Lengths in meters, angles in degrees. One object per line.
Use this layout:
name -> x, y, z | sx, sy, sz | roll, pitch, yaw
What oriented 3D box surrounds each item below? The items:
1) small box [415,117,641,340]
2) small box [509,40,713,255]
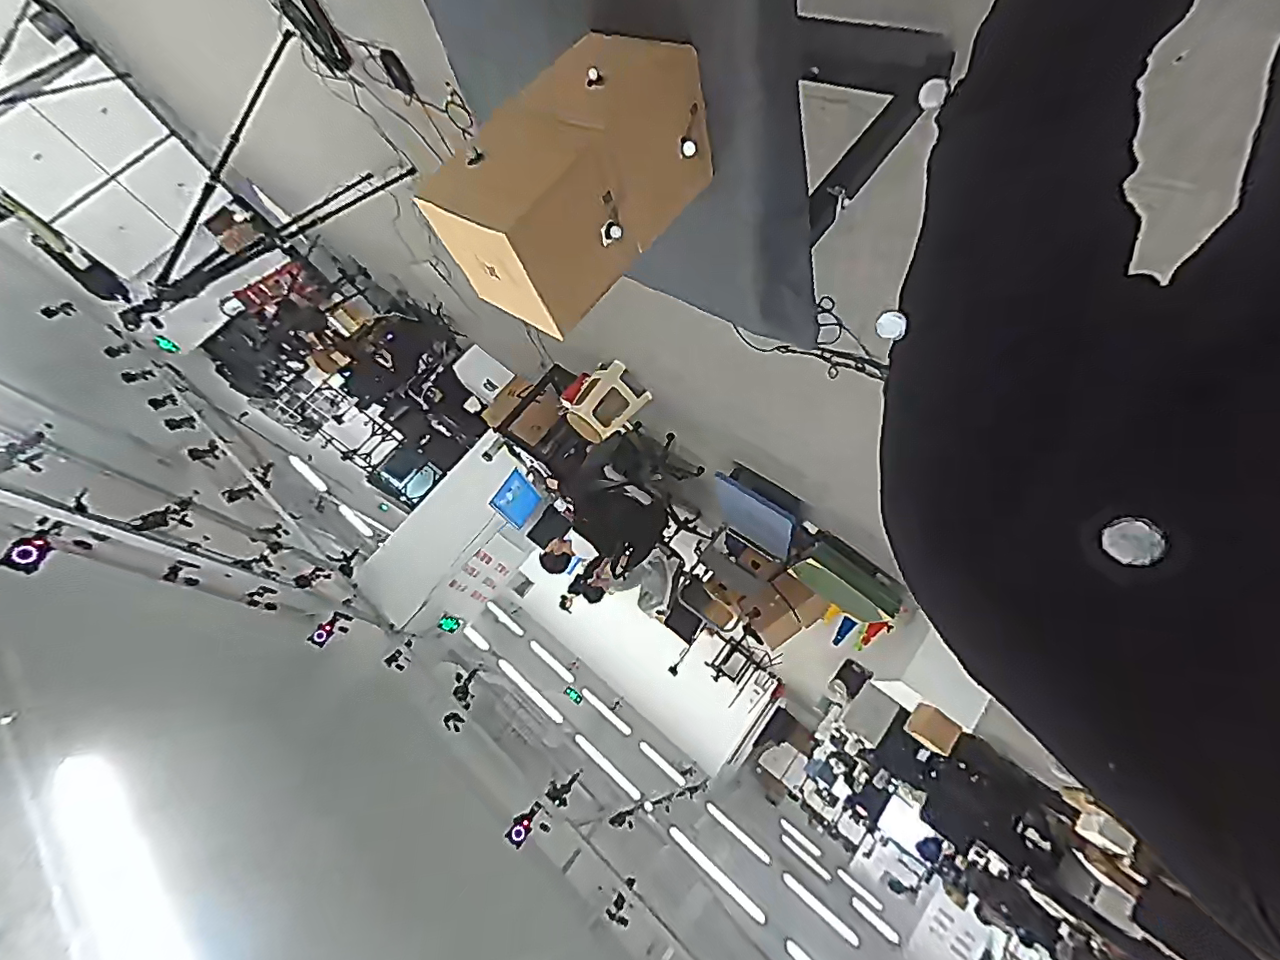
small box -> -0.128, -0.313, 0.672 | 0.179, 0.176, 0.168 | 31, 166, 28
small box -> -0.029, -0.436, 0.708 | 0.179, 0.176, 0.168 | 32, 165, 28
